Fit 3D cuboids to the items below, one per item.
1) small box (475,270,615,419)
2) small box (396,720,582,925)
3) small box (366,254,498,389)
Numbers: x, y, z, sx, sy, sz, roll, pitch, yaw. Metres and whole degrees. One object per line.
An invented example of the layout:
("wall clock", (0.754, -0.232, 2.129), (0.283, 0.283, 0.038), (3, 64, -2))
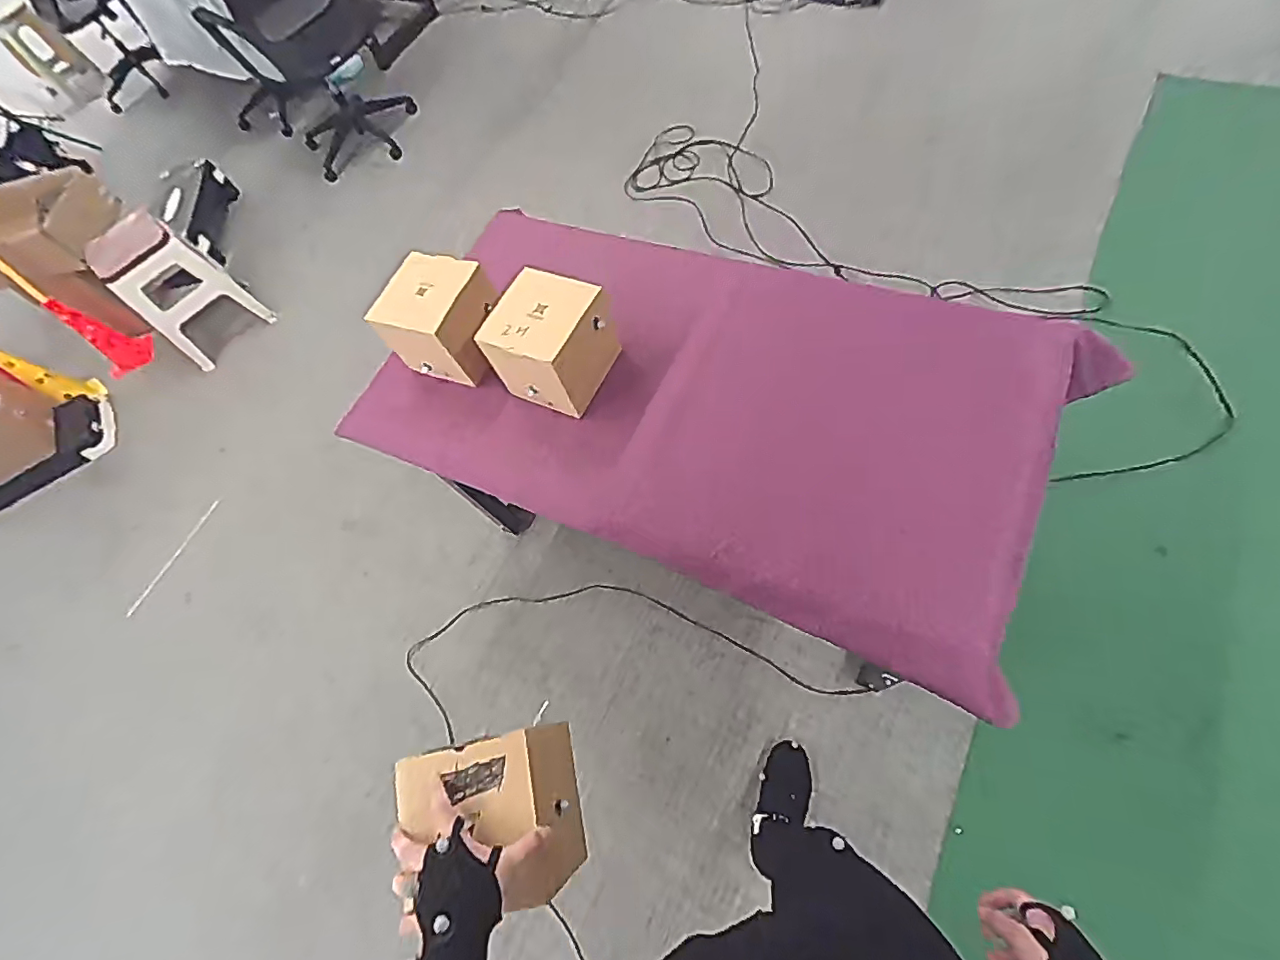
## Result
("small box", (-0.161, -0.243, 0.990), (0.168, 0.176, 0.179), (22, 71, 20))
("small box", (-0.182, 0.408, 0.677), (0.168, 0.176, 0.179), (-14, 69, 6))
("small box", (-0.388, -0.310, 1.070), (0.168, 0.176, 0.179), (16, 69, 19))
